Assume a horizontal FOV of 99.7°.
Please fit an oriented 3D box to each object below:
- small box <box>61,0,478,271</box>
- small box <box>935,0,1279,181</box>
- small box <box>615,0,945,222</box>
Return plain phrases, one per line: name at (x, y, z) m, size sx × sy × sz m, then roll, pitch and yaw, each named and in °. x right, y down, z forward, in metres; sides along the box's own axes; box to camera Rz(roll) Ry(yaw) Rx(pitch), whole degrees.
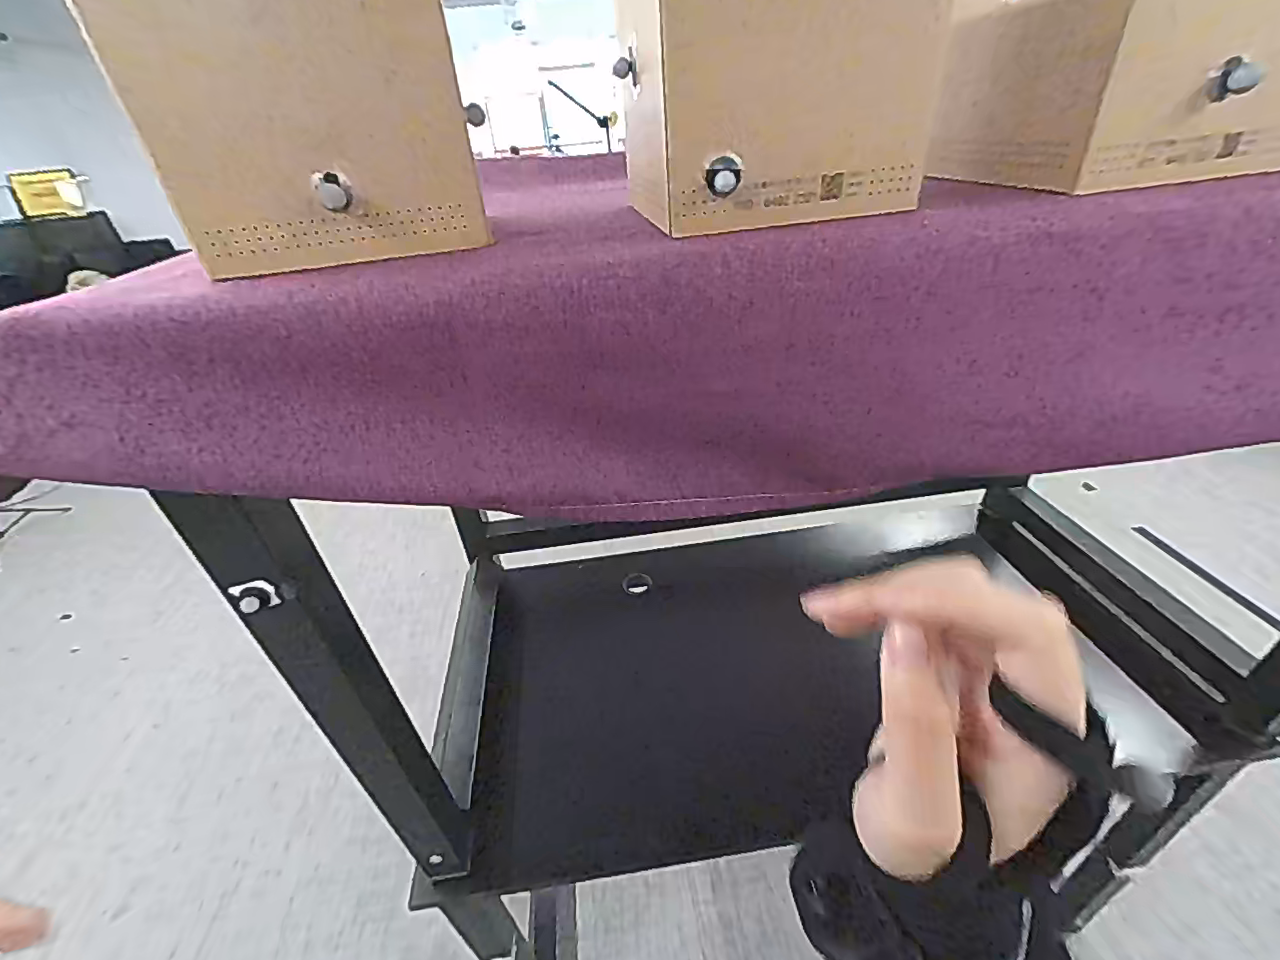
small box at (-0.209, -0.248, 0.357) m, size 0.179 × 0.176 × 0.168 m, roll -12°, pitch 34°, yaw -12°
small box at (0.337, -0.309, 0.370) m, size 0.168 × 0.176 × 0.179 m, roll -9°, pitch 34°, yaw -4°
small box at (0.079, -0.276, 0.359) m, size 0.168 × 0.176 × 0.179 m, roll -9°, pitch 33°, yaw -5°
